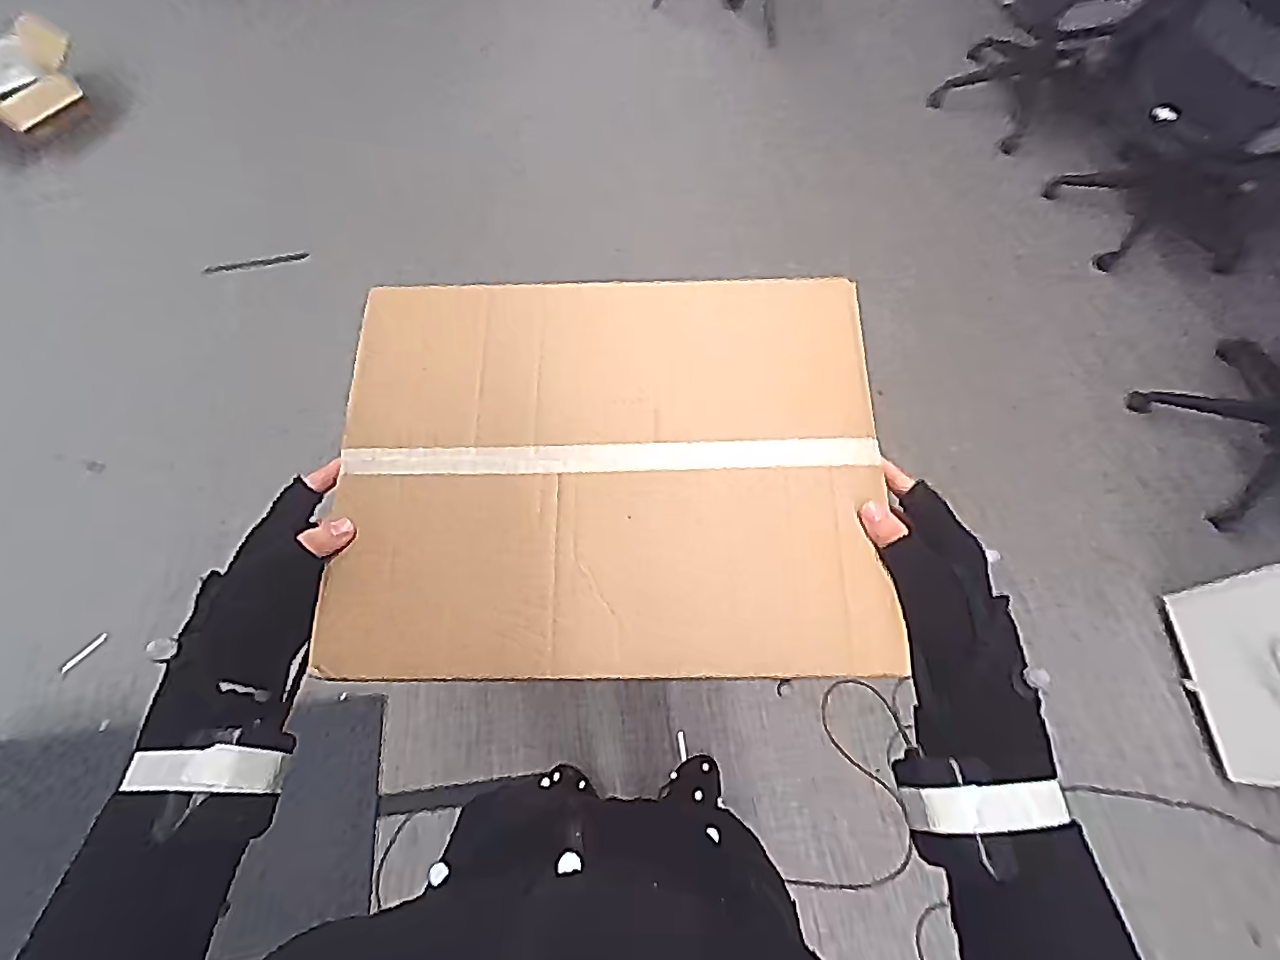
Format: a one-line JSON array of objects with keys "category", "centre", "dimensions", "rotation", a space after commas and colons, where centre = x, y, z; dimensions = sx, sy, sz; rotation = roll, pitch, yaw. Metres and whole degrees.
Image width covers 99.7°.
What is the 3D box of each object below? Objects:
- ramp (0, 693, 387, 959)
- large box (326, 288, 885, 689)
[{"category": "ramp", "centre": [-1.098, 0.784, 1.187], "dimensions": [0.991, 0.206, 0.509], "rotation": [-9, 64, -1]}, {"category": "large box", "centre": [-0.026, 0.034, 0.564], "dimensions": [0.408, 0.320, 0.320], "rotation": [-2, 72, 1]}]
